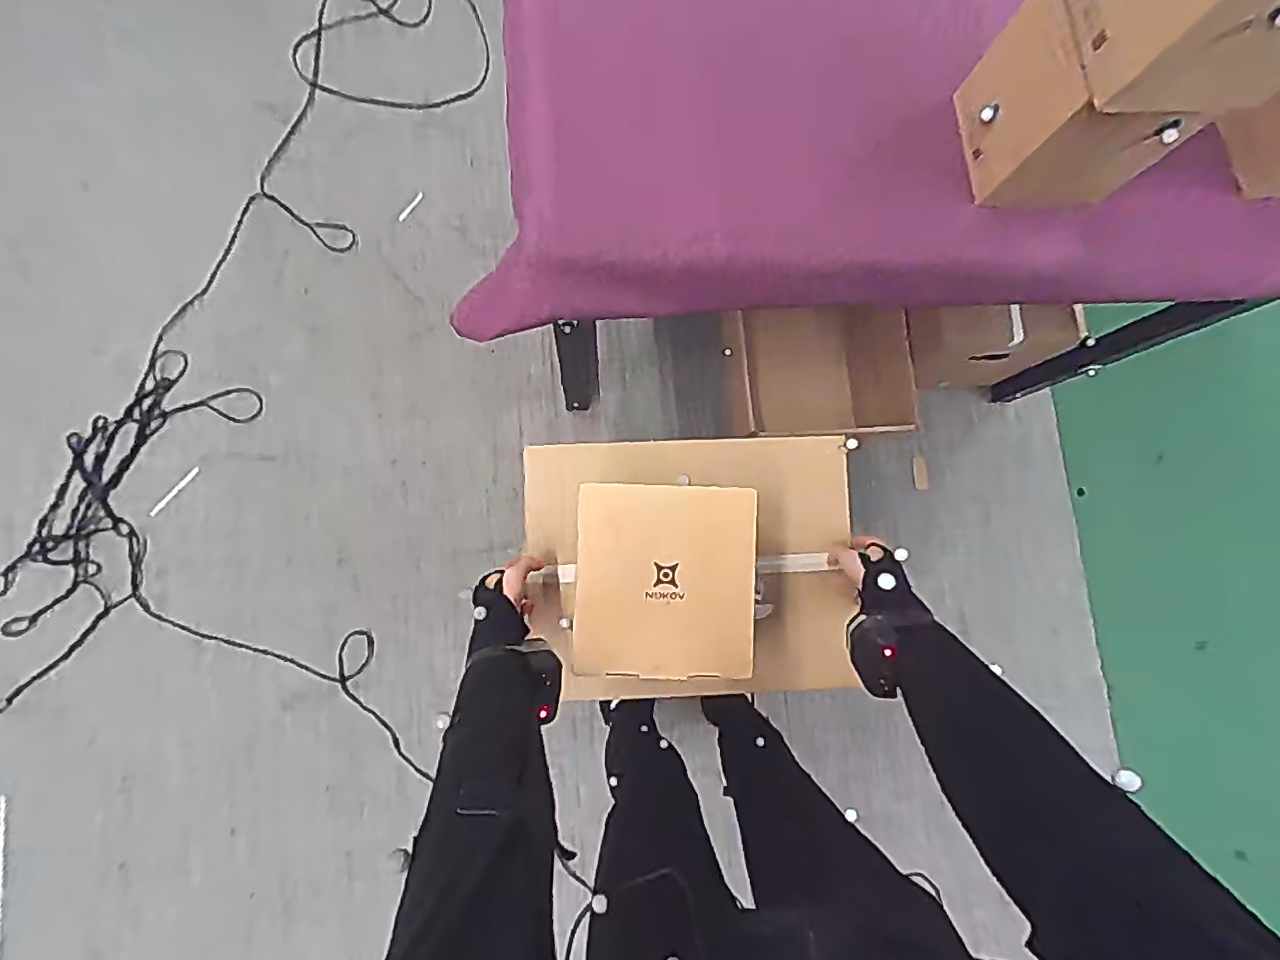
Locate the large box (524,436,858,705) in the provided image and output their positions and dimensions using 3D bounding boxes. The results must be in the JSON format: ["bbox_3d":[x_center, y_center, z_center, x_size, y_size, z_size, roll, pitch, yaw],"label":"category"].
[{"bbox_3d":[0.055,0.118,0.808,0.408,0.320,0.320,-2,86,-3],"label":"large box"}]

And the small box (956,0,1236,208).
[{"bbox_3d":[0.510,-0.441,0.624,0.179,0.176,0.168,-4,80,-5],"label":"small box"}]

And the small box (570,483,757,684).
[{"bbox_3d":[0.019,0.097,0.563,0.168,0.176,0.179,2,87,-2],"label":"small box"}]

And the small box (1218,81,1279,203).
[{"bbox_3d":[0.874,-0.472,0.658,0.168,0.176,0.179,-6,80,-4],"label":"small box"}]

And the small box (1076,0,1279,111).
[{"bbox_3d":[0.519,-0.450,0.460,0.179,0.176,0.168,-5,81,-5],"label":"small box"}]
